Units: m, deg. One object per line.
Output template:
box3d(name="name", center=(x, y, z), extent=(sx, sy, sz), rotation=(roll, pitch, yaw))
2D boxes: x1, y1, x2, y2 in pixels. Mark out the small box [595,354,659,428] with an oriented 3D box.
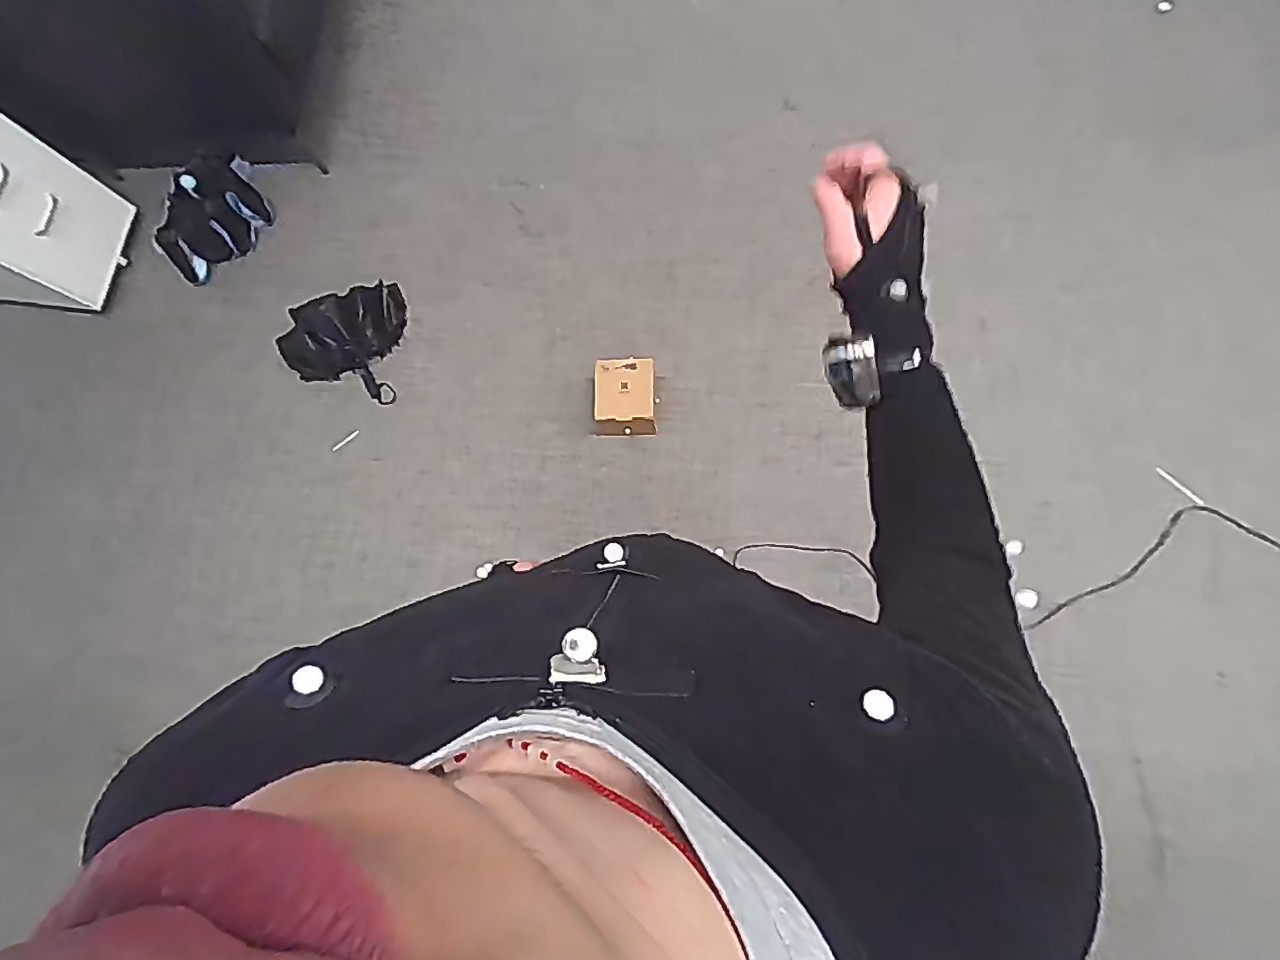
box3d(name="small box", center=(-0.034, -0.251, 1.574), extent=(0.168, 0.176, 0.179), rotation=(-1, 82, 6))
